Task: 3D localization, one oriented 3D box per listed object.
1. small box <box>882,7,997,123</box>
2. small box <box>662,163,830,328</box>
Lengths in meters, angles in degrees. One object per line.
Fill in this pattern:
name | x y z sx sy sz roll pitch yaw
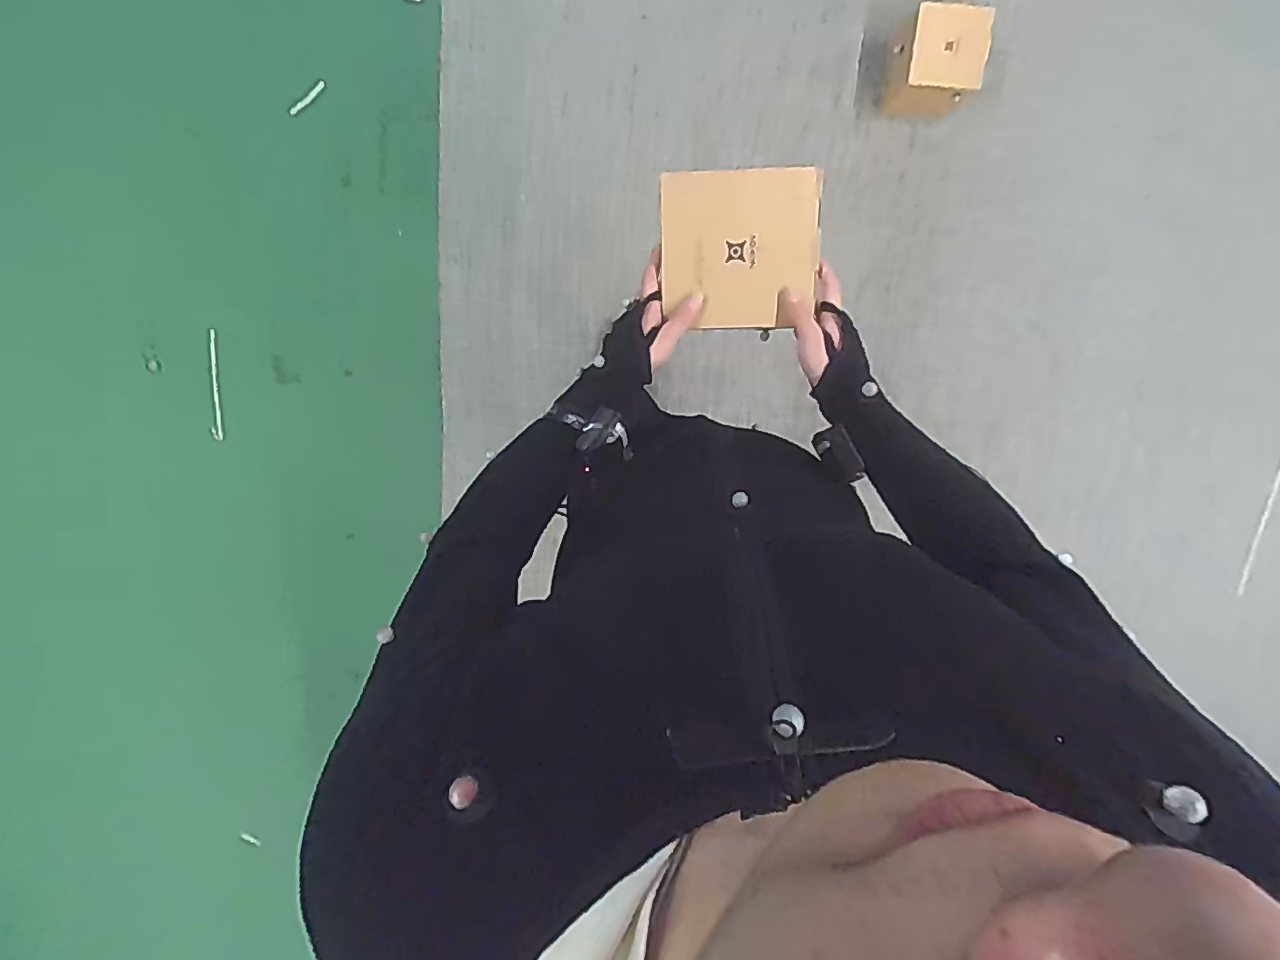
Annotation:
small box | 0.713 -0.993 1.309 0.179 0.176 0.168 3 102 -1
small box | 0.116 -0.275 0.665 0.179 0.176 0.168 0 105 3
